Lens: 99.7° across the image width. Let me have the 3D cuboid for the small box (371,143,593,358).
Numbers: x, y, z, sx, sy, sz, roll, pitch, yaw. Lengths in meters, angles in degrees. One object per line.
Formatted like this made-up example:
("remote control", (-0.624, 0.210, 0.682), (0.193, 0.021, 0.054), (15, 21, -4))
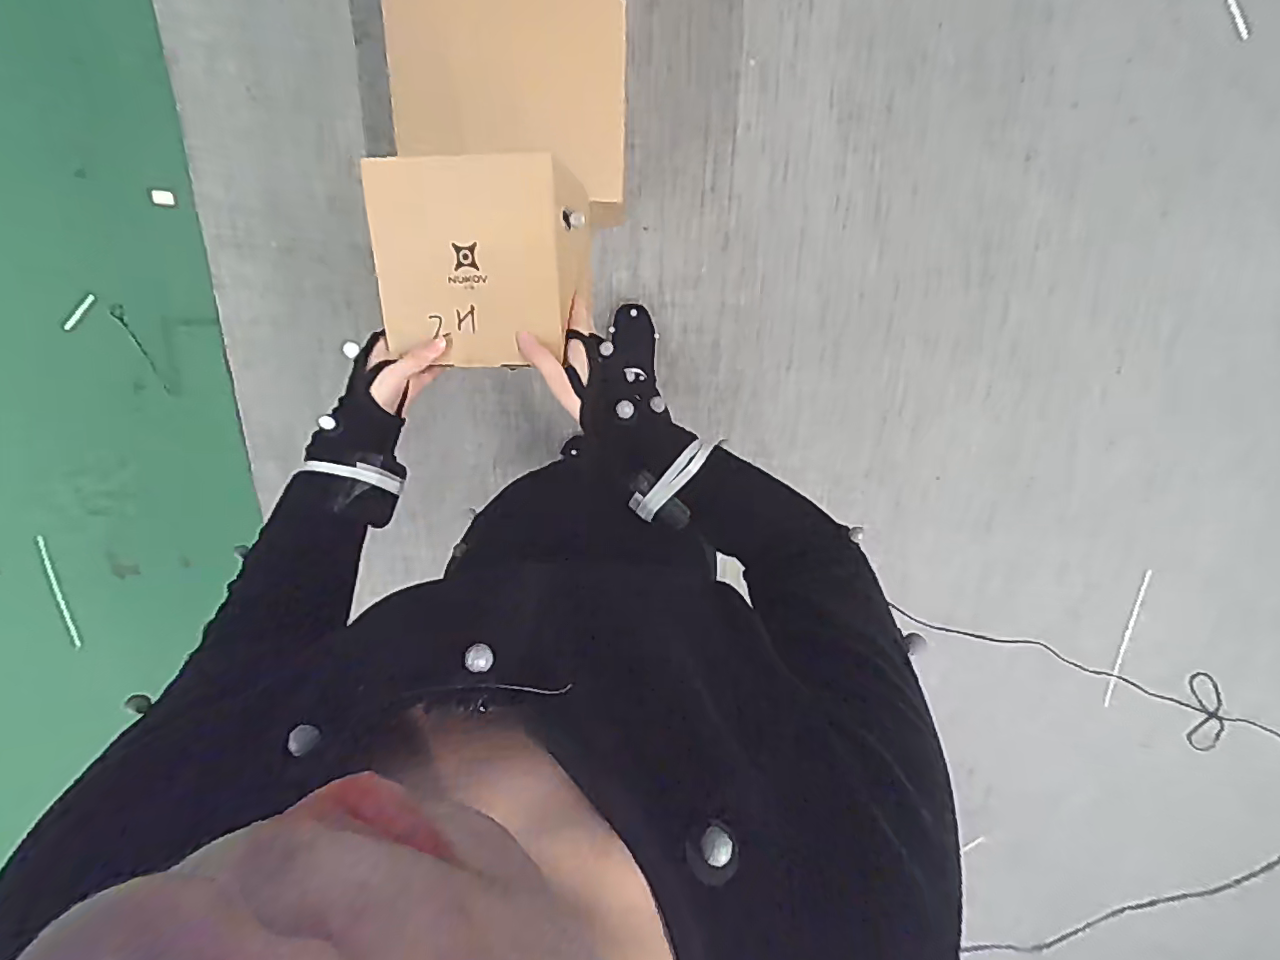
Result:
("small box", (-0.143, -0.223, 0.554), (0.168, 0.176, 0.179), (2, 109, 4))
